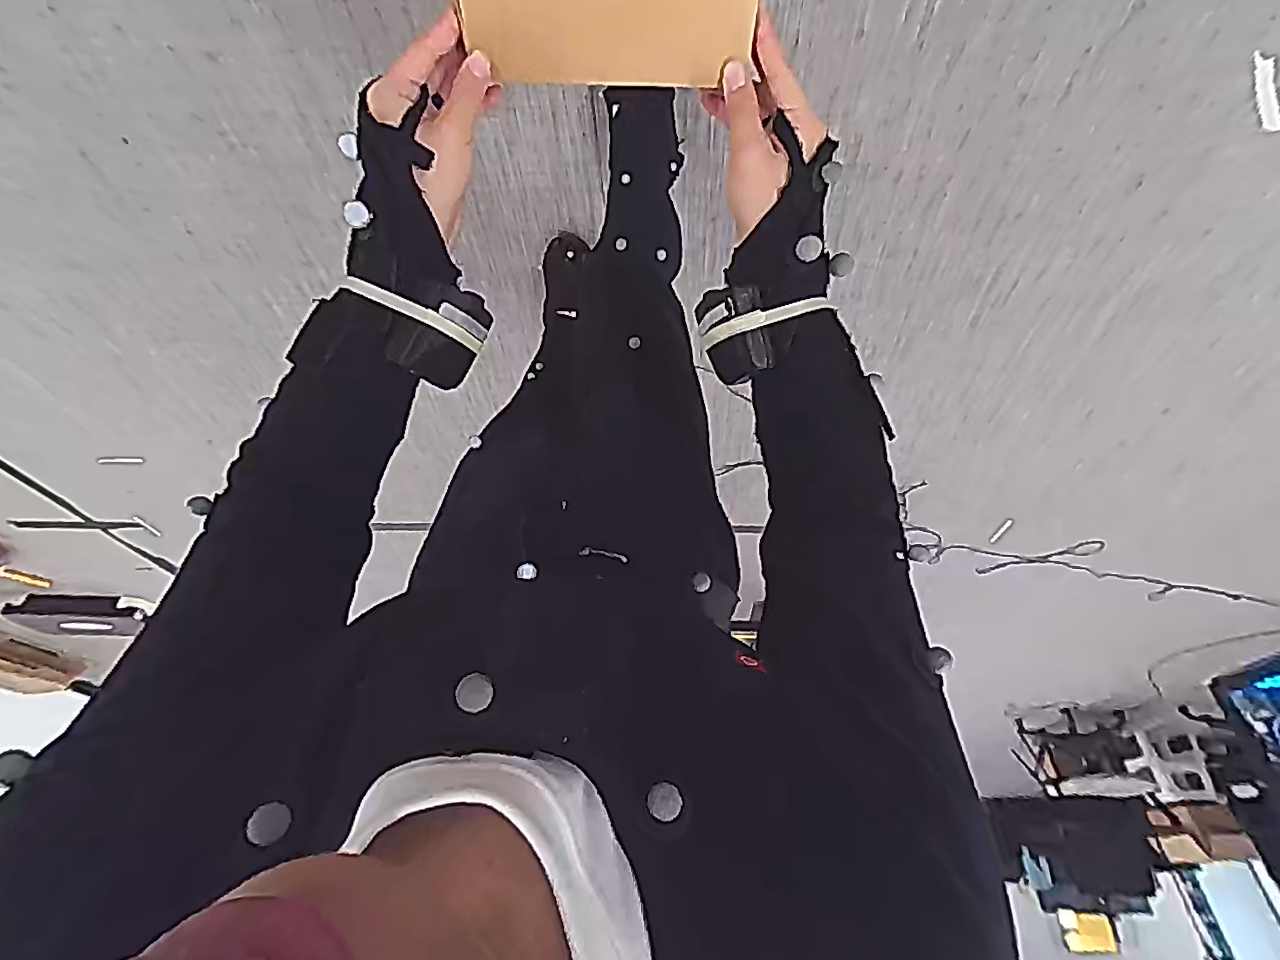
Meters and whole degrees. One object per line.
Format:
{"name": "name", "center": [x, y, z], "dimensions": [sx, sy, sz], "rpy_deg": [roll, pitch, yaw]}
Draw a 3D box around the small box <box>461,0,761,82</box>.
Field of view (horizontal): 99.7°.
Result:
{"name": "small box", "center": [-0.015, -0.367, 0.318], "dimensions": [0.179, 0.176, 0.168], "rpy_deg": [1, 146, -1]}
